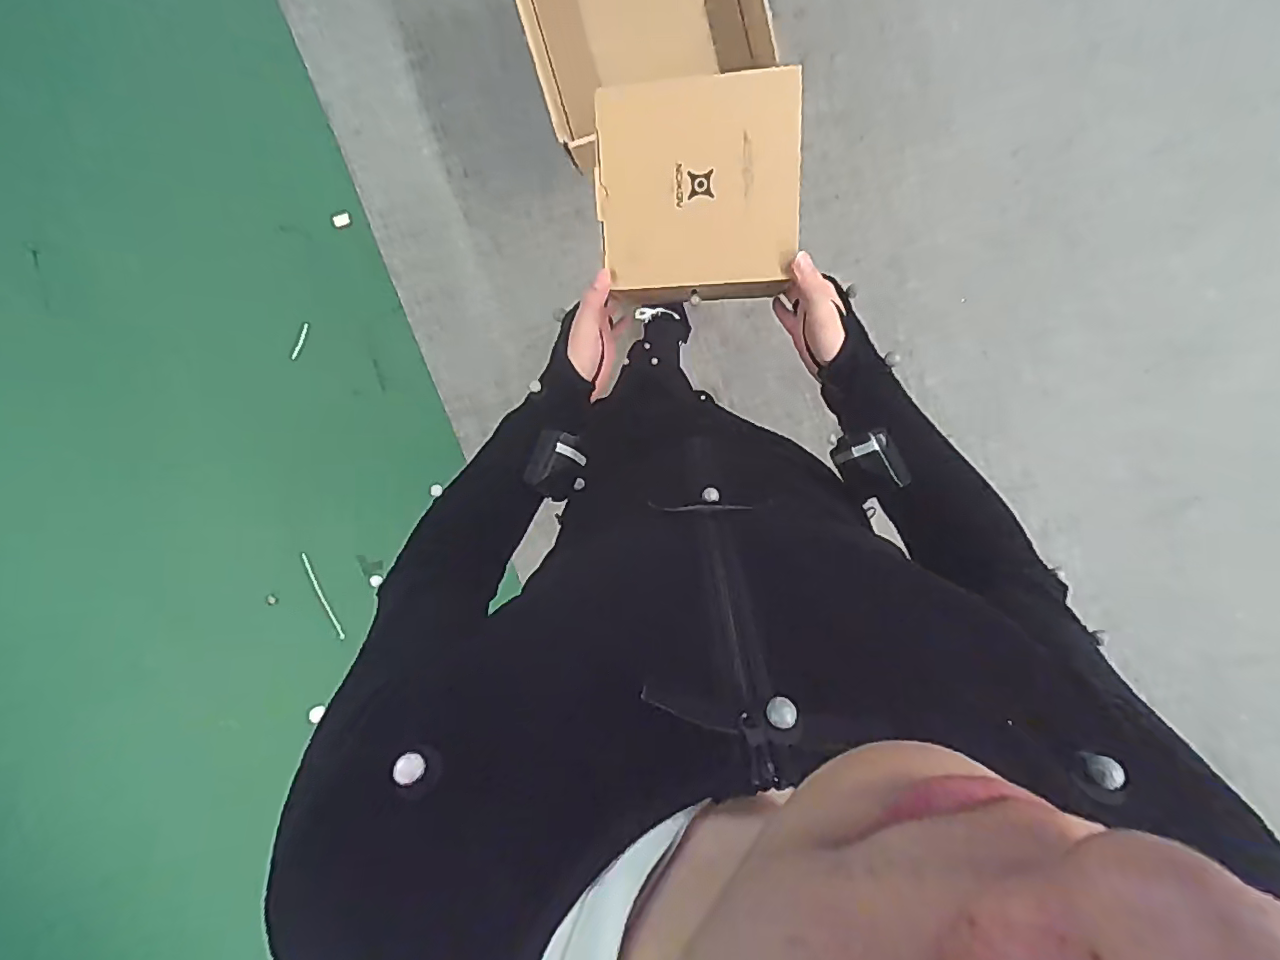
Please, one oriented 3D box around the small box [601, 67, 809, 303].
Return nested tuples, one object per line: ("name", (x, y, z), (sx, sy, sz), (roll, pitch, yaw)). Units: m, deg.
("small box", (0.063, -0.274, 0.544), (0.179, 0.176, 0.168), (0, 102, 7))
